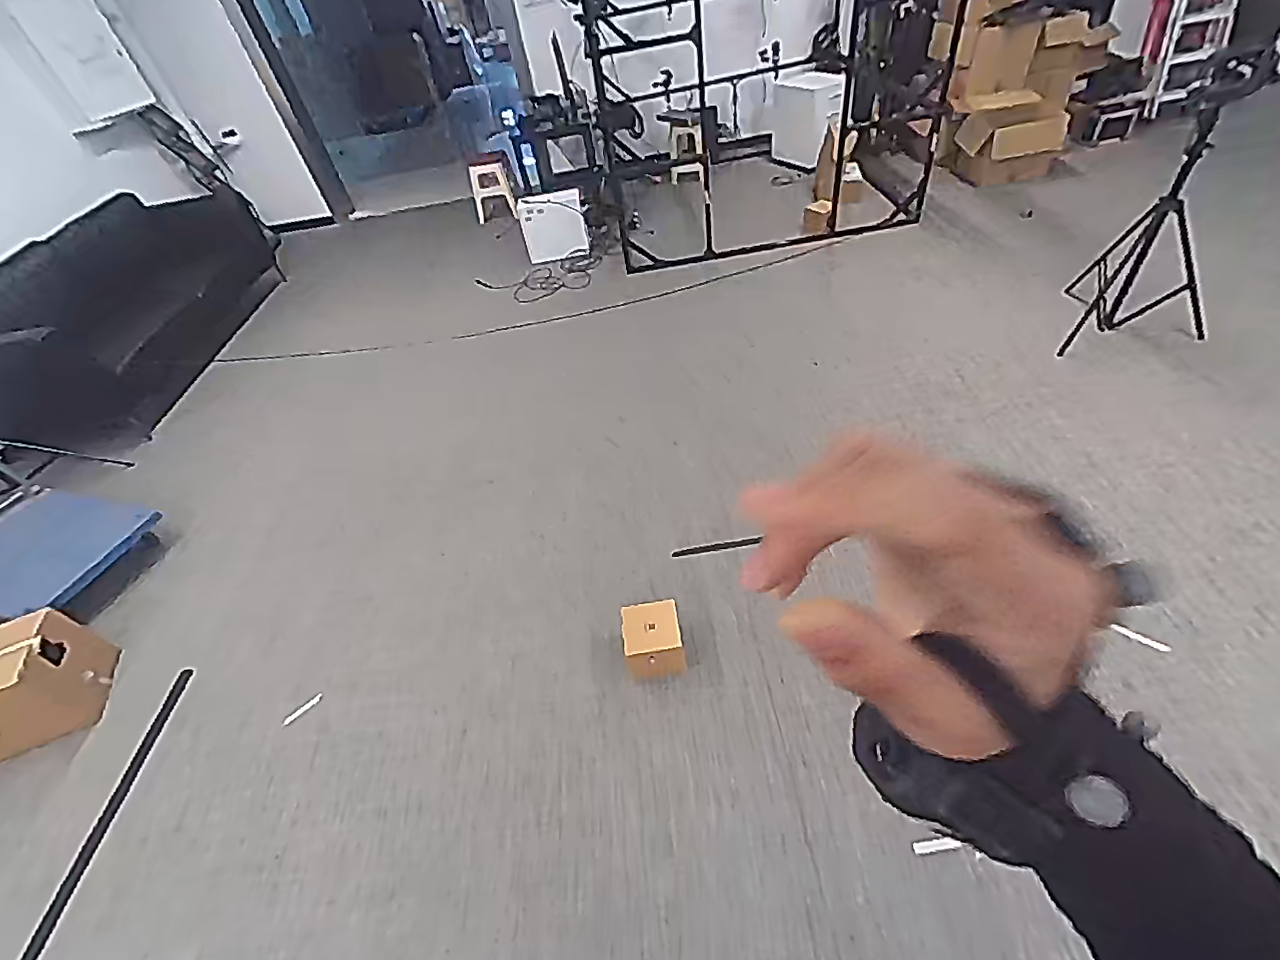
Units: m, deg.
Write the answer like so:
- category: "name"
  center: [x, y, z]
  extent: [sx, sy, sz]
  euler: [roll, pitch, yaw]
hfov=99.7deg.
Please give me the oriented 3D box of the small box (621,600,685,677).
- category: "small box"
  center: [0.044, 0.506, 1.717]
  extent: [0.179, 0.176, 0.168]
  euler: [-11, 45, 3]
